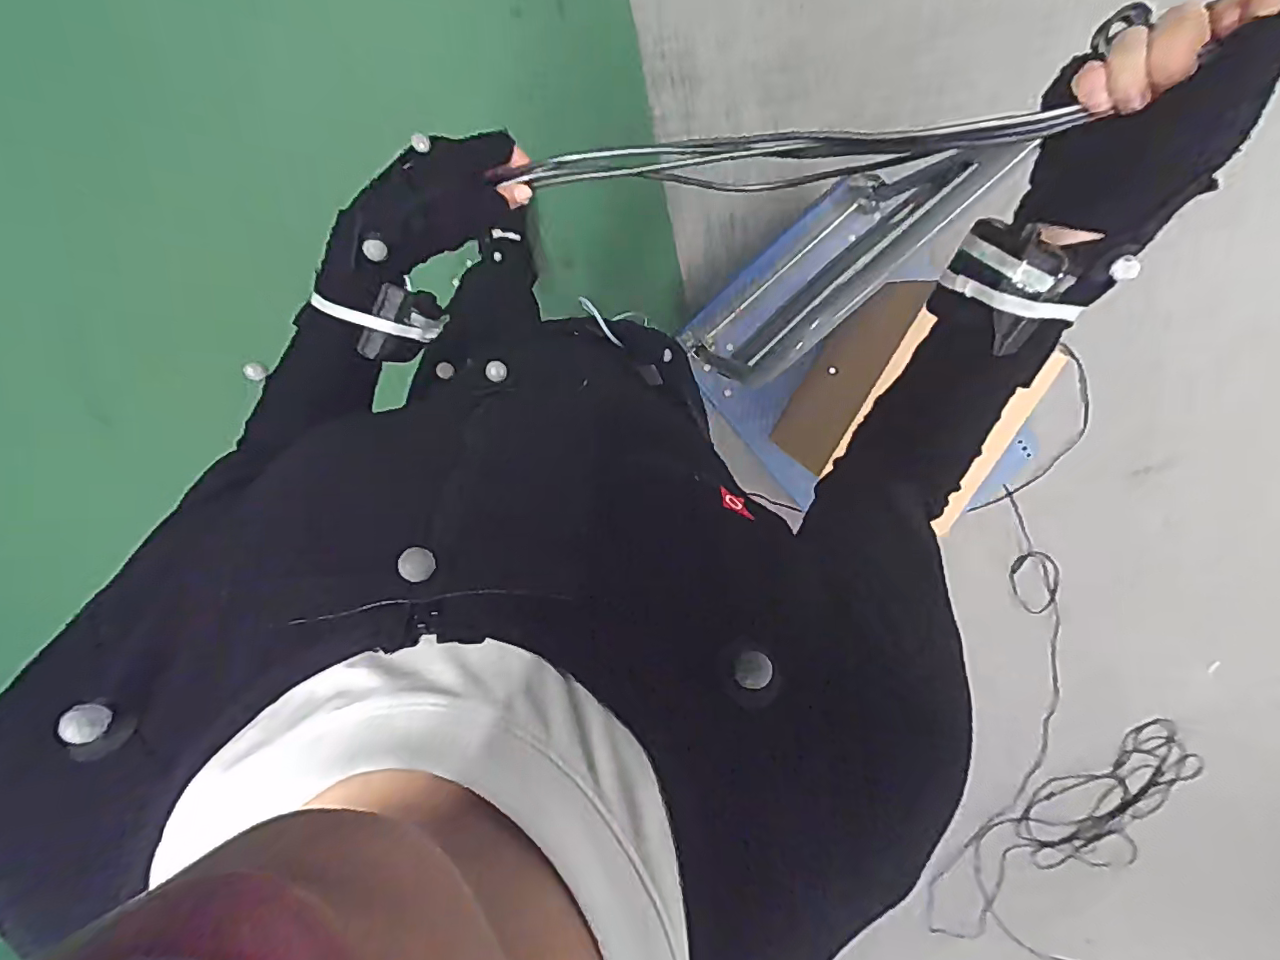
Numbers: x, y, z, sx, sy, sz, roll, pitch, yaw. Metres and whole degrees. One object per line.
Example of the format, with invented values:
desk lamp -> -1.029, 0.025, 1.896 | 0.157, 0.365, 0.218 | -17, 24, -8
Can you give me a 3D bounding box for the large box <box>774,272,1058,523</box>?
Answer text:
large box -> 0.556, -0.183, 1.173 | 0.320, 0.320, 0.408 | 24, 104, -13
